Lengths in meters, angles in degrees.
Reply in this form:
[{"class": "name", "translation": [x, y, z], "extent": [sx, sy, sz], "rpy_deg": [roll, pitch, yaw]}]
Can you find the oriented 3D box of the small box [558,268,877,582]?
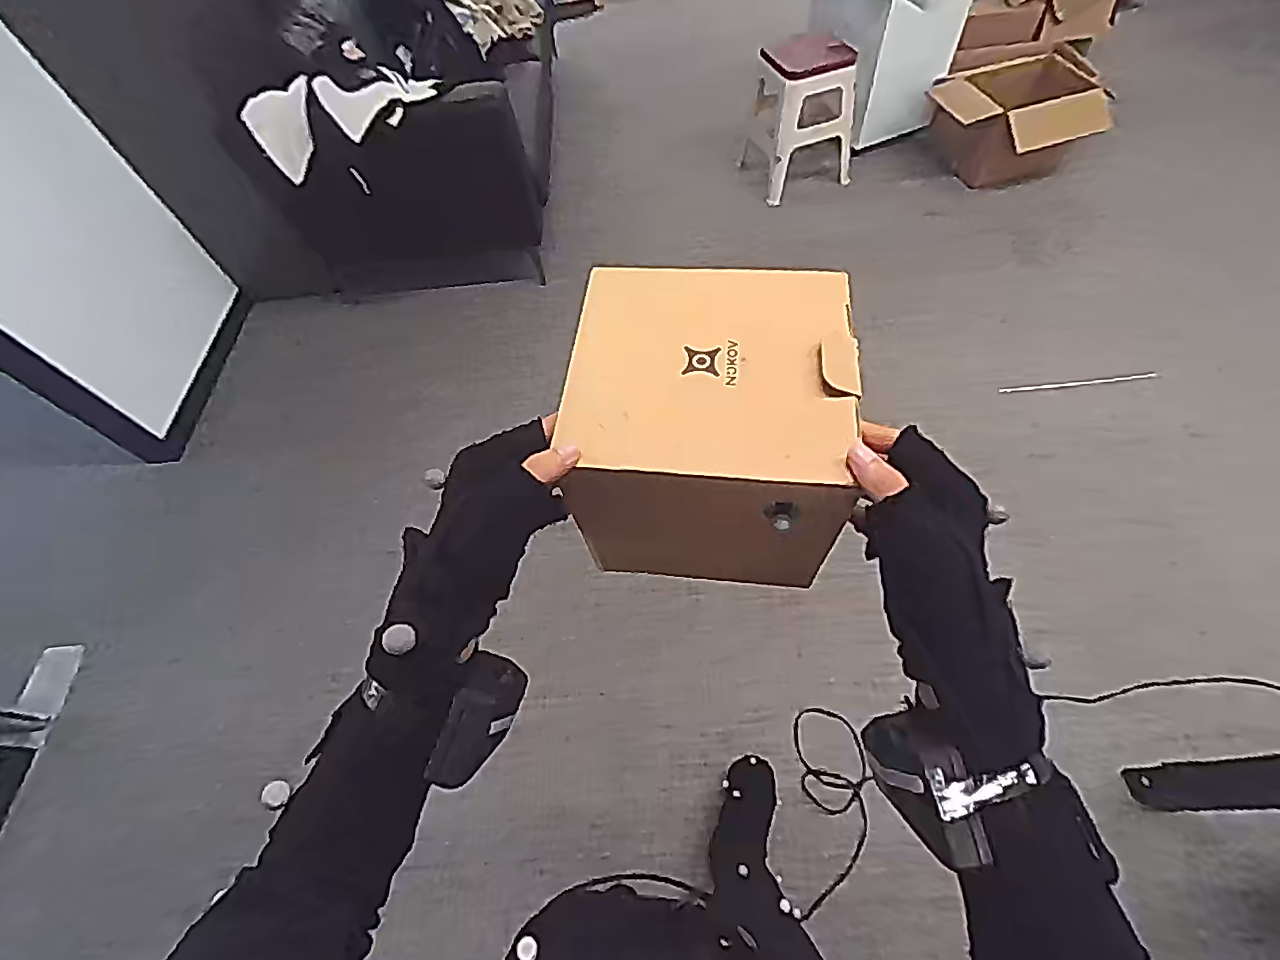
[{"class": "small box", "translation": [0.055, -0.032, 0.399], "extent": [0.179, 0.176, 0.168], "rpy_deg": [3, 61, 7]}]
